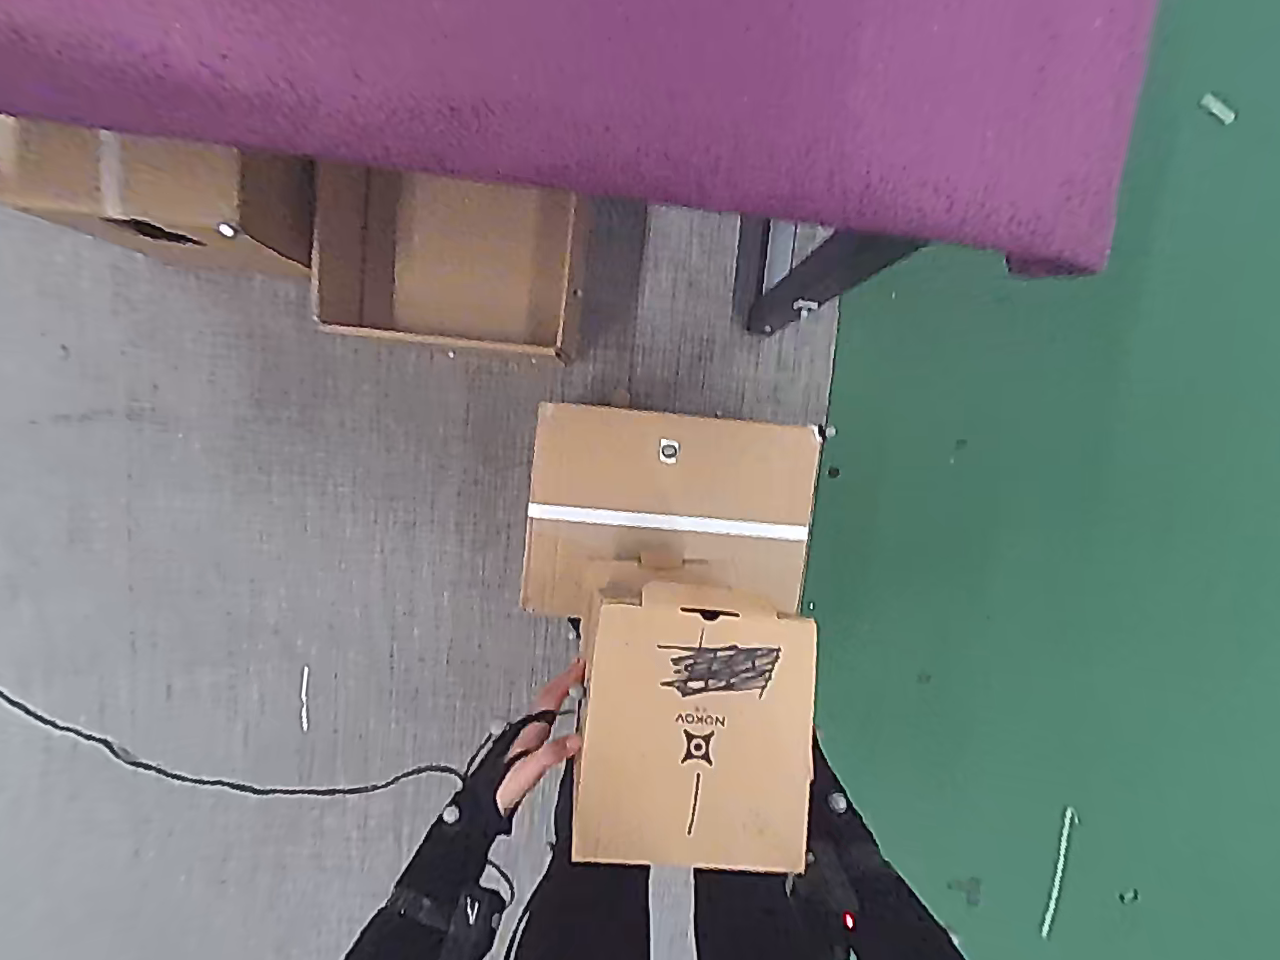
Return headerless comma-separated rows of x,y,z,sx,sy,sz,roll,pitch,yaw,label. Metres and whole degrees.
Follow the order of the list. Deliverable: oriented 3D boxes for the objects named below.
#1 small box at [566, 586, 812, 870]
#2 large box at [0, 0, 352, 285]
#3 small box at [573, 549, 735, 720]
0.031,0.187,0.459,0.168,0.176,0.179,7,82,-5,small box
-0.673,-0.556,0.839,0.320,0.320,0.408,5,97,-3,large box
0.009,0.179,0.630,0.168,0.176,0.179,3,77,-5,small box
